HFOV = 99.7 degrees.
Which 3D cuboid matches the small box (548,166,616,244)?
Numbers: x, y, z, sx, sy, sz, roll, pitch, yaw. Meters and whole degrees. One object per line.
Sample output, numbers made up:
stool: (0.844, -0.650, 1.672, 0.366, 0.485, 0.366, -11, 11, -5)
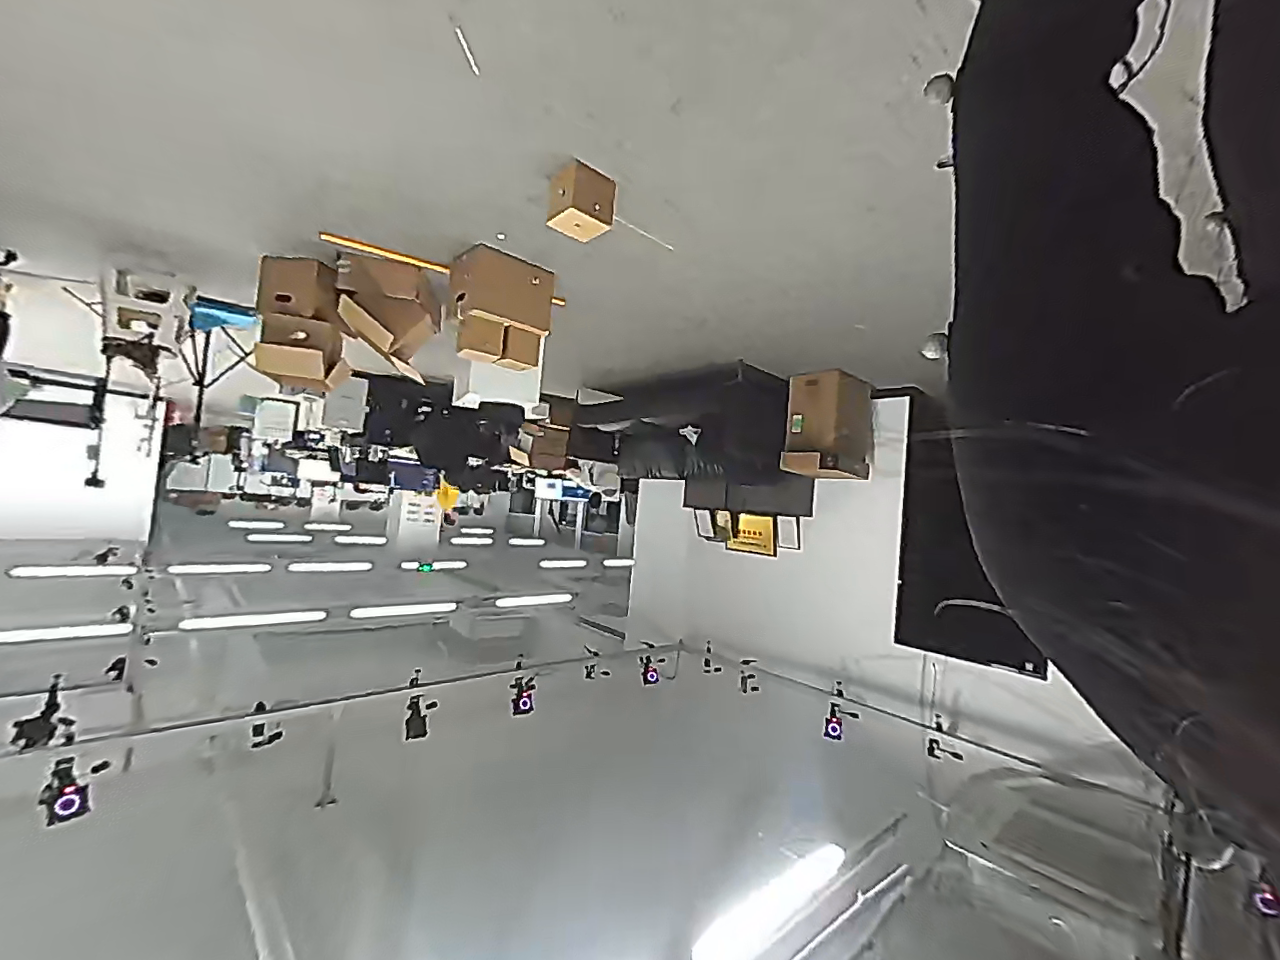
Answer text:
small box: (-0.200, -0.960, 1.884, 0.179, 0.176, 0.168, 5, 177, -41)
